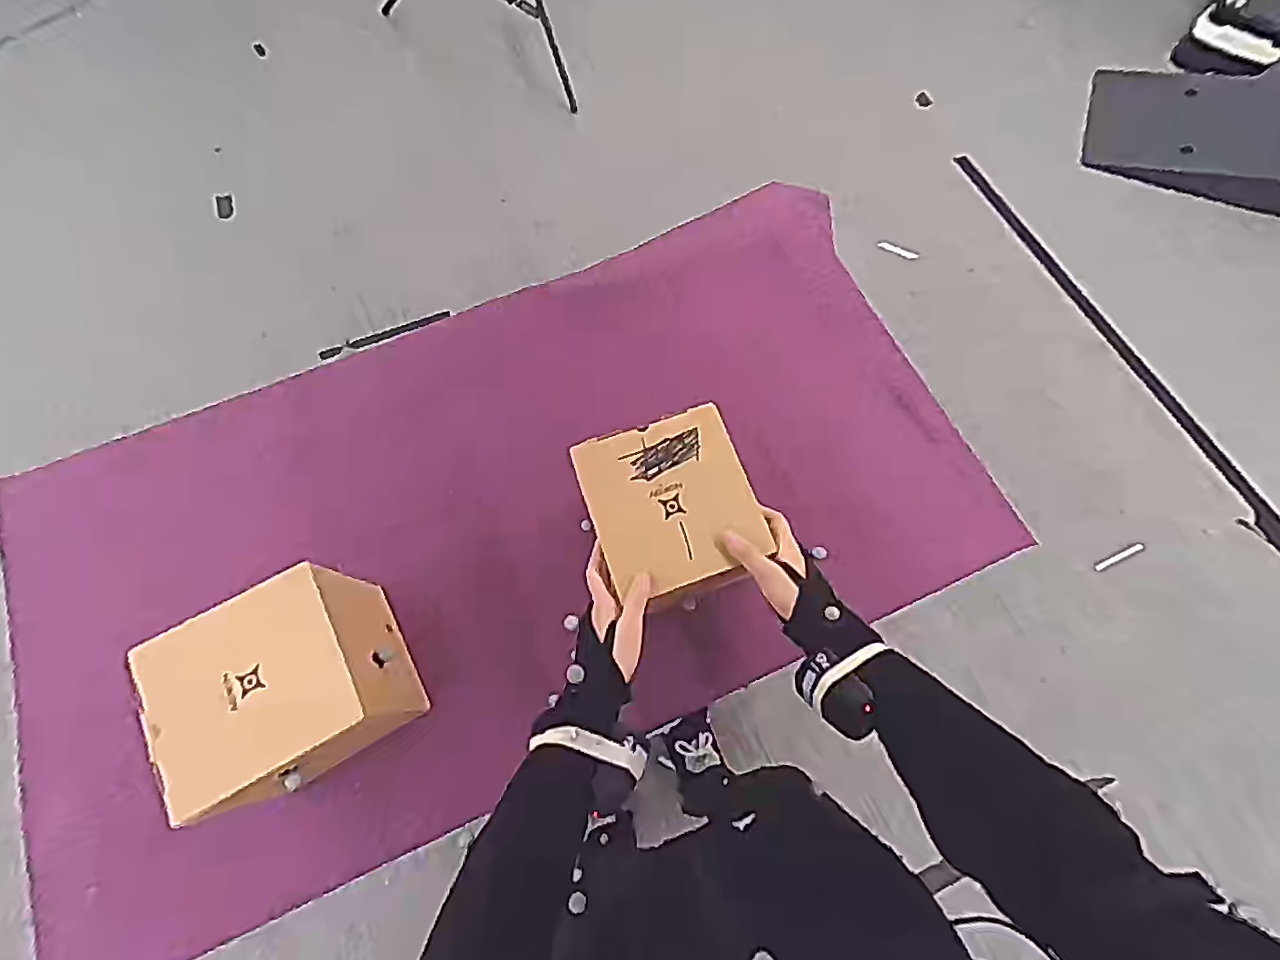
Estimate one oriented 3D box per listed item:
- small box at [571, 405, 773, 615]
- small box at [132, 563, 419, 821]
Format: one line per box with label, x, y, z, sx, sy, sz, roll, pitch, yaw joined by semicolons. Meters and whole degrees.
small box;0.028;0.044;0.626;0.168;0.176;0.179;-18;73;-6
small box;-0.359;0.210;0.571;0.179;0.176;0.168;-29;73;-9
